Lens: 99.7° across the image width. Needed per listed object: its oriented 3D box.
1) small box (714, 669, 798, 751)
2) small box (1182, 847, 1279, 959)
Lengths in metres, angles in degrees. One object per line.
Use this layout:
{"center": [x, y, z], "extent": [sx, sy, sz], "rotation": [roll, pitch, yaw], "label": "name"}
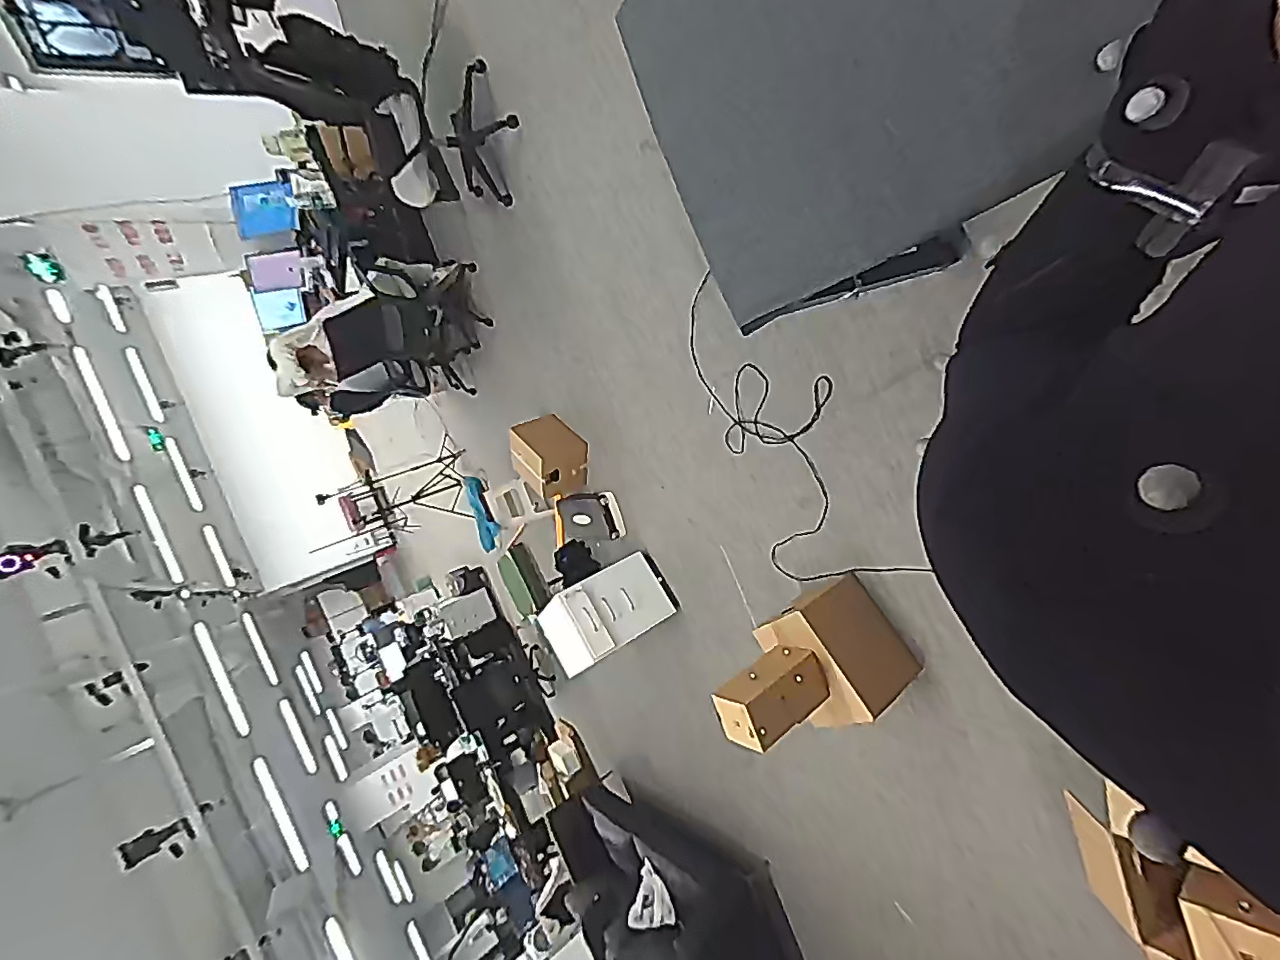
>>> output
{"center": [0.378, 0.738, 1.759], "extent": [0.179, 0.176, 0.168], "rotation": [-16, 97, 60], "label": "small box"}
{"center": [1.256, 0.895, 1.093], "extent": [0.179, 0.176, 0.168], "rotation": [-16, 95, 59], "label": "small box"}
